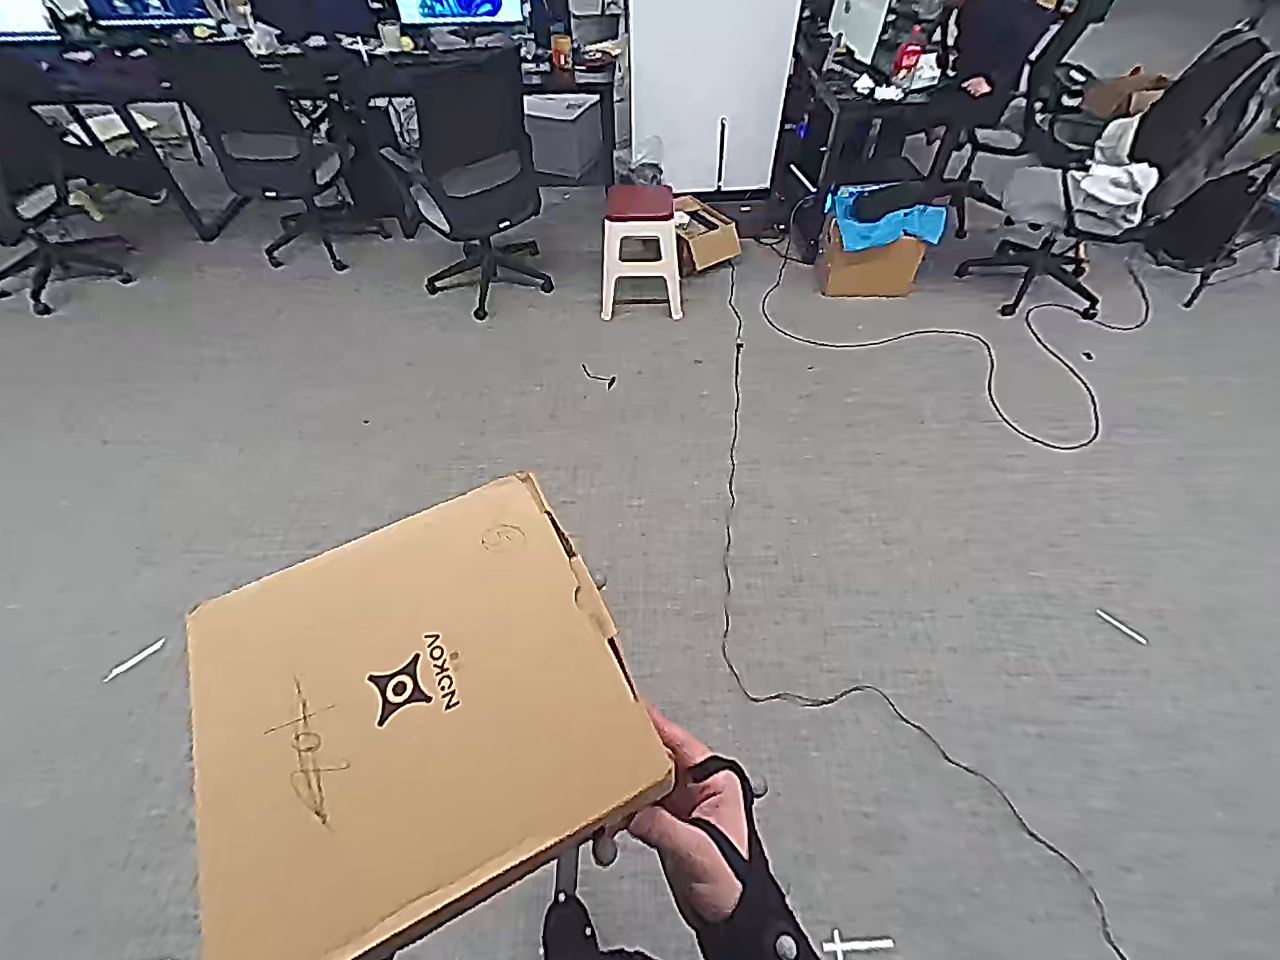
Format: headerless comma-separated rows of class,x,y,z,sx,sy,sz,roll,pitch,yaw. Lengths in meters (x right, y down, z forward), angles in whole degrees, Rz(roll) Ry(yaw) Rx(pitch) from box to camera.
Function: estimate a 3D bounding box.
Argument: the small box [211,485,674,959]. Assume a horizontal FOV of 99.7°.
small box,-0.095,0.139,0.314,0.179,0.176,0.168,-26,59,-12
